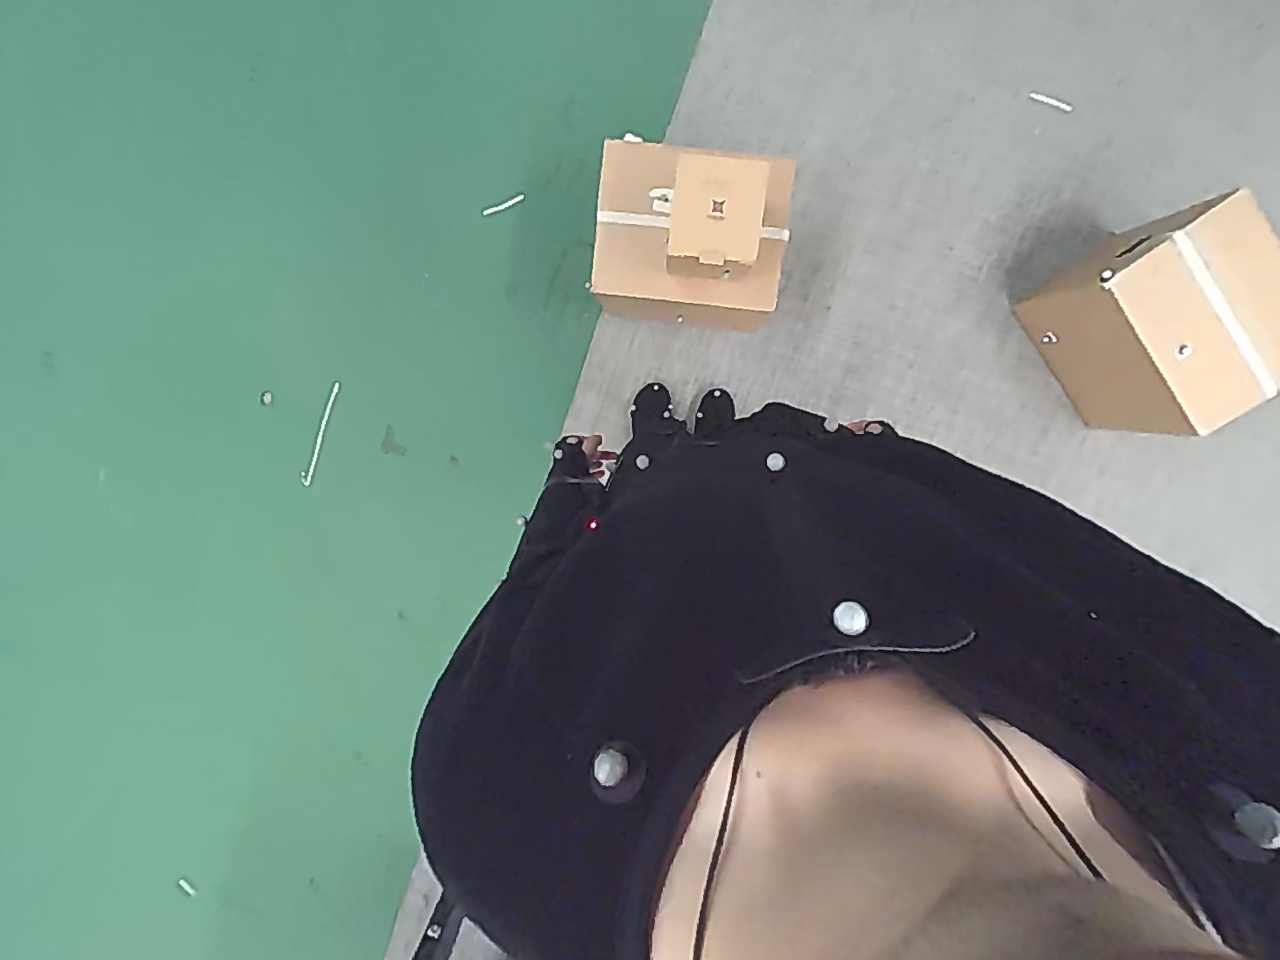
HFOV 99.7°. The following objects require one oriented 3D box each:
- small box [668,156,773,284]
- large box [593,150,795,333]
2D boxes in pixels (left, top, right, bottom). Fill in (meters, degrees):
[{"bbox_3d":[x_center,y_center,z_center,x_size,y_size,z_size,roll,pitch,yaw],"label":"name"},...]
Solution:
[{"bbox_3d":[0.147,-0.488,1.041,0.168,0.176,0.179,7,99,2],"label":"small box"},{"bbox_3d":[0.121,-0.539,1.284,0.408,0.320,0.320,7,97,4],"label":"large box"}]
